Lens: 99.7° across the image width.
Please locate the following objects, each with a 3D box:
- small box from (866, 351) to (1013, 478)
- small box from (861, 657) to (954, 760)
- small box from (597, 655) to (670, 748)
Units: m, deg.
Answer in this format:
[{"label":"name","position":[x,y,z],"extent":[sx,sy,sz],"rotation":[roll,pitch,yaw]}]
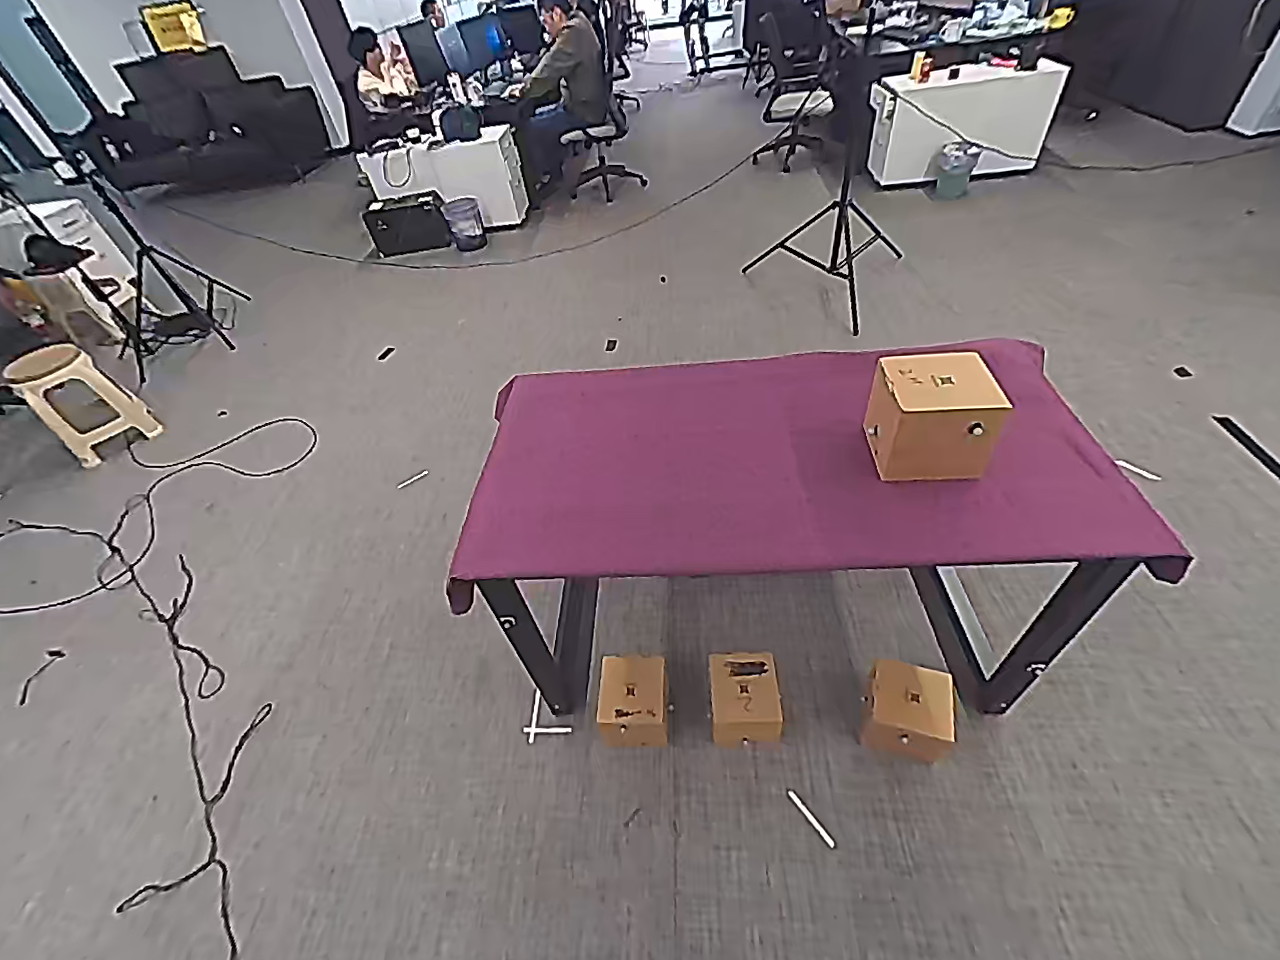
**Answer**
[{"label":"small box","position":[0.536,-0.117,0.998],"extent":[0.179,0.176,0.168],"rotation":[-2,45,8]},{"label":"small box","position":[0.657,0.568,1.337],"extent":[0.179,0.176,0.168],"rotation":[9,49,19]},{"label":"small box","position":[-0.010,0.585,1.429],"extent":[0.168,0.176,0.179],"rotation":[-2,44,8]}]
